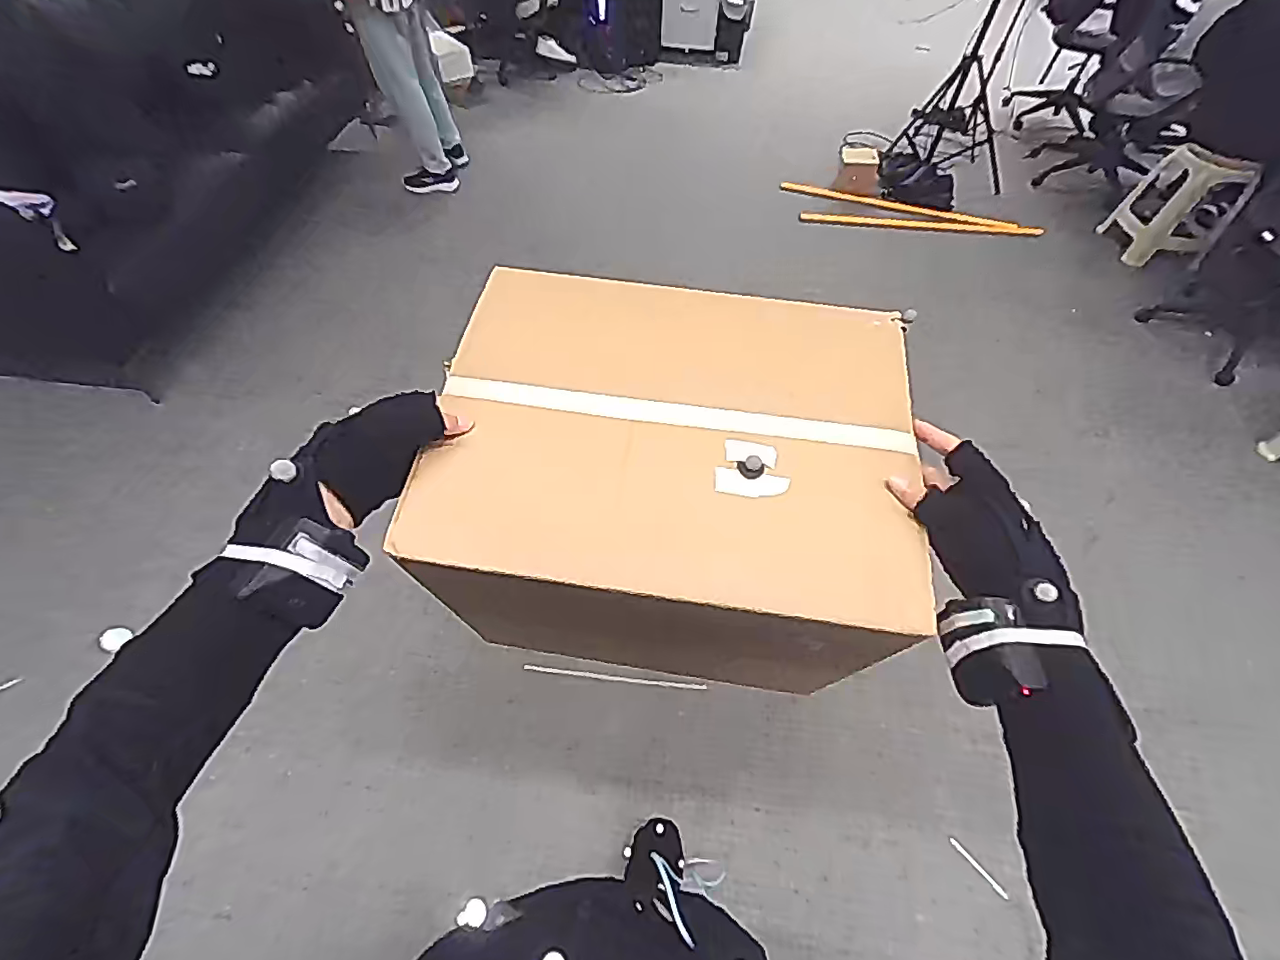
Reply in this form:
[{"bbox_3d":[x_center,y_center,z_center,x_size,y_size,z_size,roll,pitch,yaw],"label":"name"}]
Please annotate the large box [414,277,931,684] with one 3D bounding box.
[{"bbox_3d":[0.034,0.019,0.607,0.408,0.320,0.320,9,62,2],"label":"large box"}]
